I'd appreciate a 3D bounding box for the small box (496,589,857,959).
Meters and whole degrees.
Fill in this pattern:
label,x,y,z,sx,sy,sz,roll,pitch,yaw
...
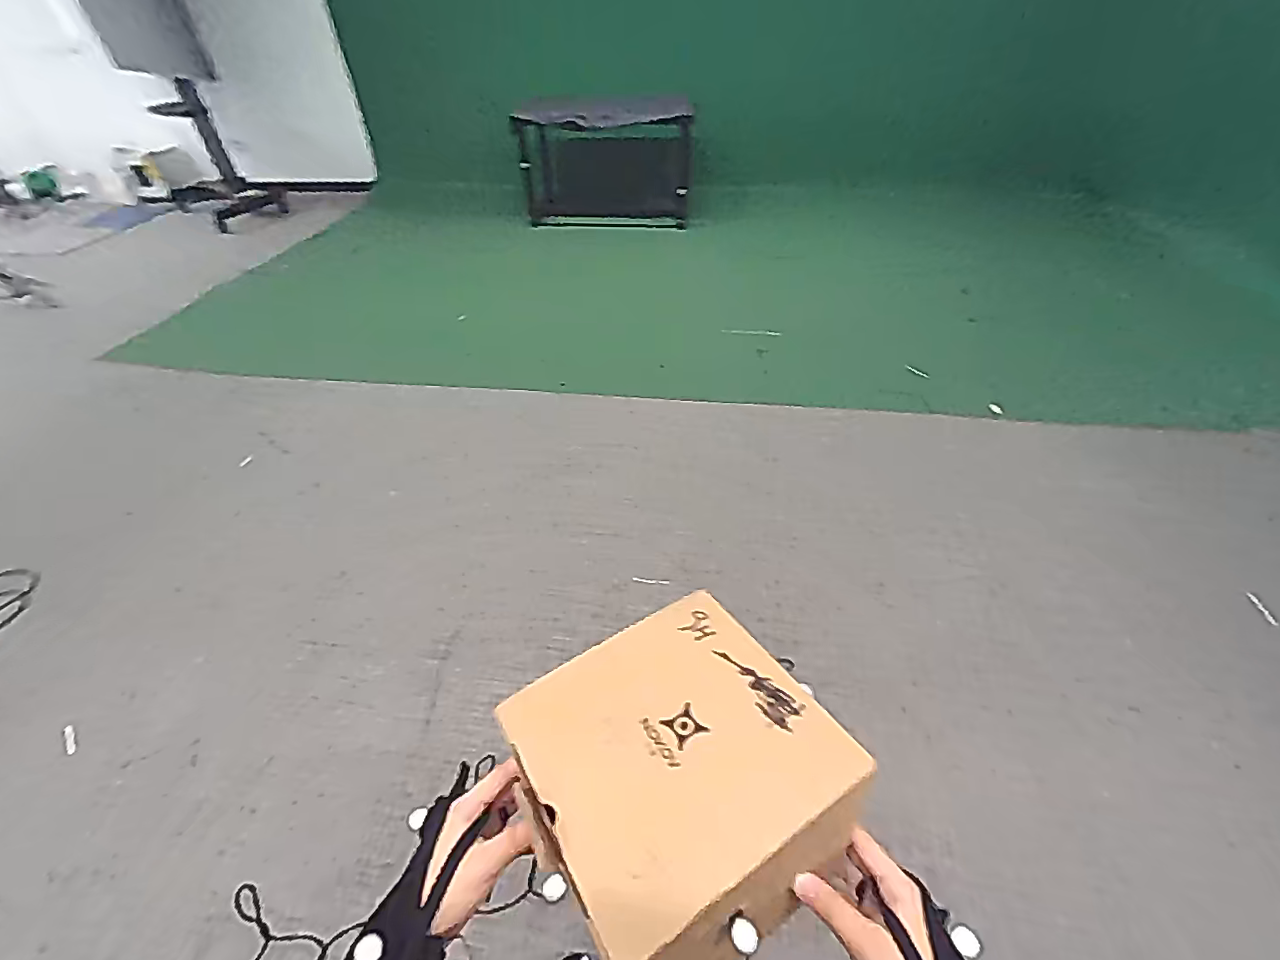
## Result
label,x,y,z,sx,sy,sz,roll,pitch,yaw
small box,0.024,0.220,0.387,0.179,0.176,0.168,-24,41,-22
